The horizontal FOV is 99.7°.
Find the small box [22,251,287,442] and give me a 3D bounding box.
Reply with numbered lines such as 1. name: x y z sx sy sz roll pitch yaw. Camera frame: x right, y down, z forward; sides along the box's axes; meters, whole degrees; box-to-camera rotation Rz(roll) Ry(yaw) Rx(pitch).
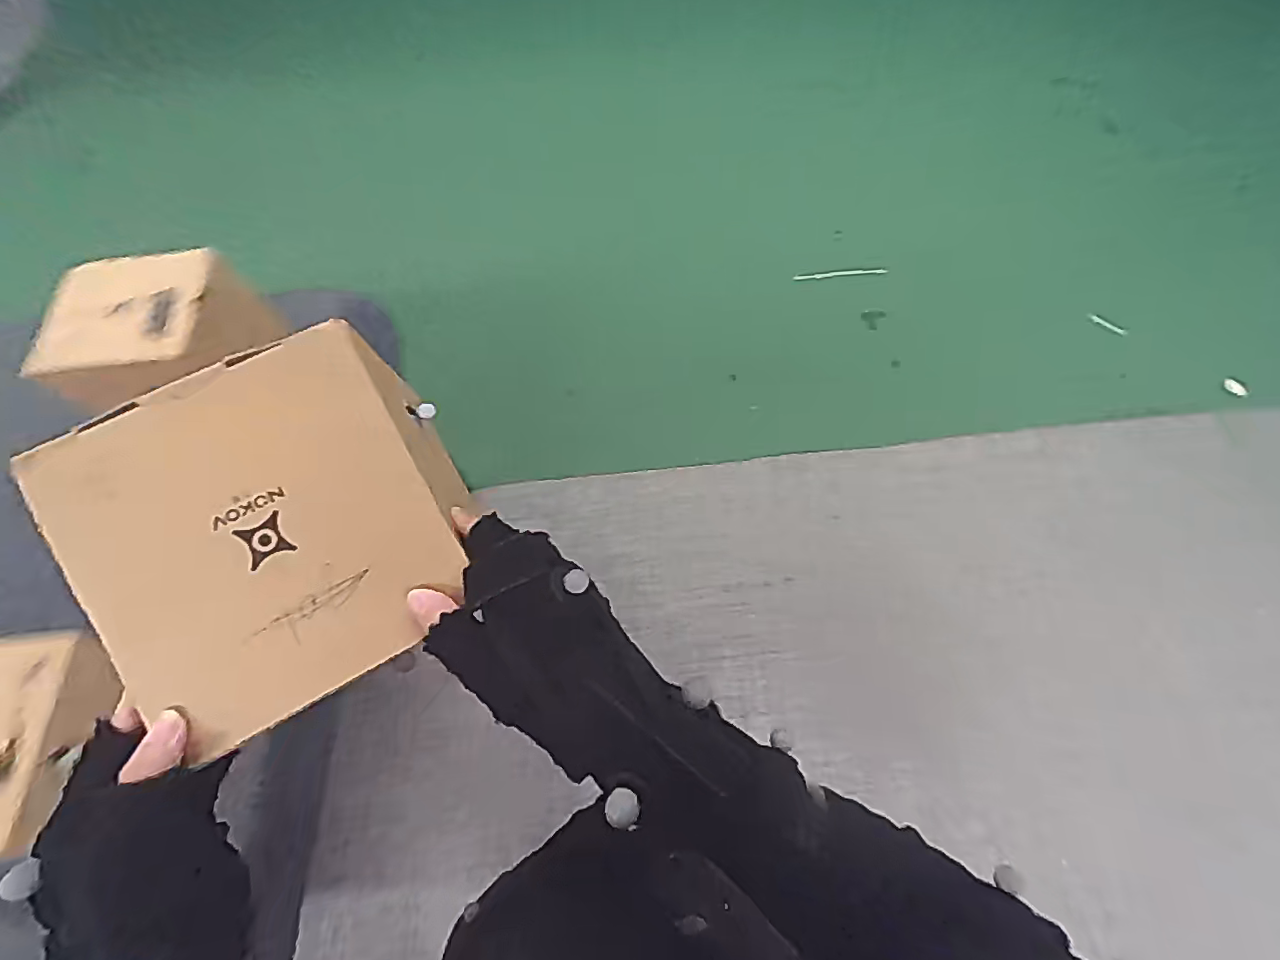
1. small box: -0.600 -0.165 0.701 0.179 0.176 0.168 -7 65 0

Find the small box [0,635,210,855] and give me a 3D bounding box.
1. small box: -0.566 0.251 0.506 0.179 0.176 0.168 -7 65 -1
